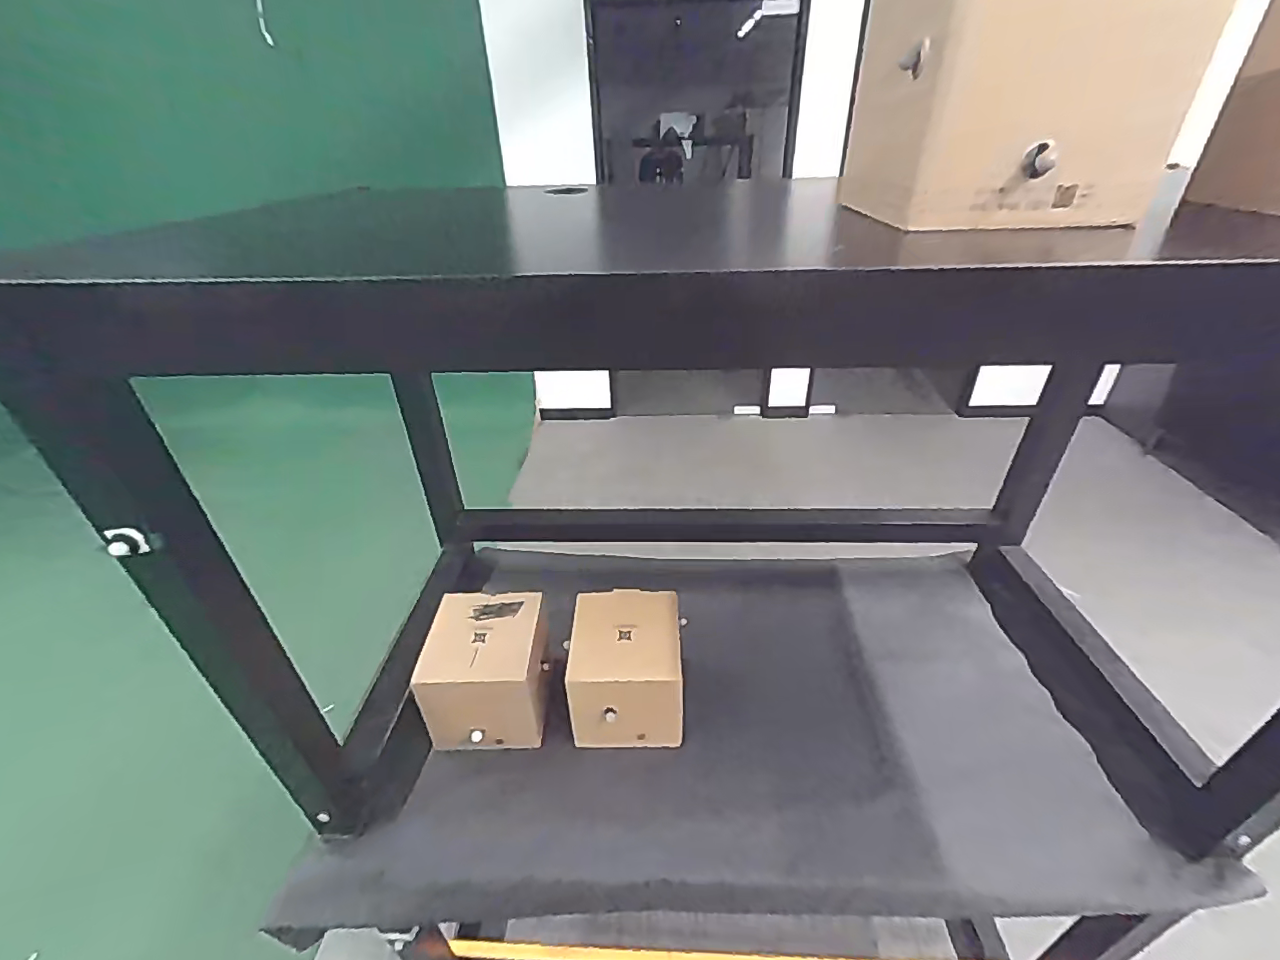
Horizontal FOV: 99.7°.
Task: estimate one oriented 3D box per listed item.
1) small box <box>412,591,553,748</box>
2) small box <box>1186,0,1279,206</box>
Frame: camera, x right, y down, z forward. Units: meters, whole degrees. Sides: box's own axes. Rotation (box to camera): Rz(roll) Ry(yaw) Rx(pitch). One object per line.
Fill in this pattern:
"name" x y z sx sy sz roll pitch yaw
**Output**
"small box" -0.237 0.299 0.867 0.168 0.176 0.179 -2 33 1
"small box" 0.538 -0.275 0.355 0.168 0.176 0.179 5 33 12
